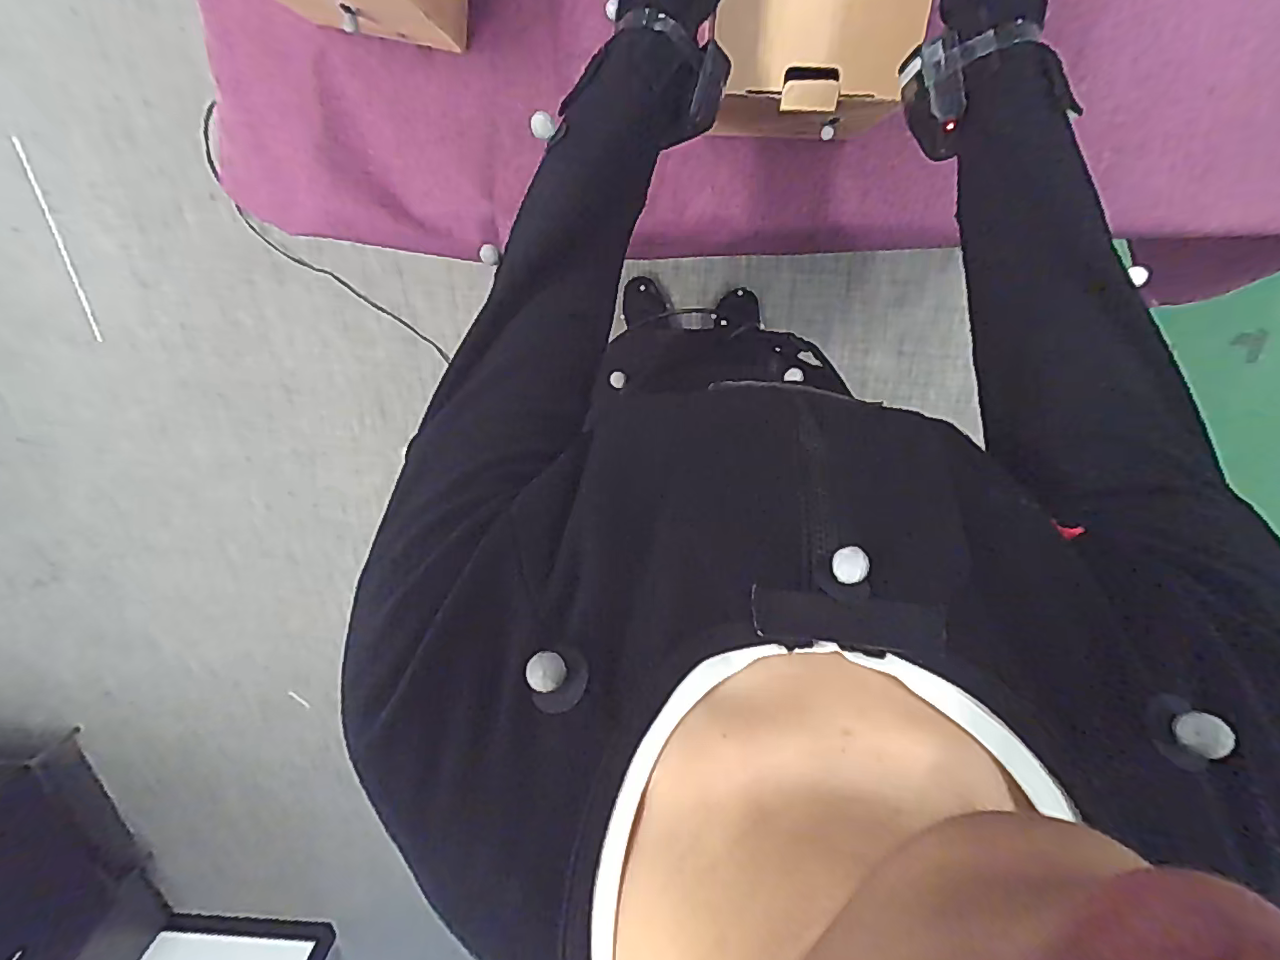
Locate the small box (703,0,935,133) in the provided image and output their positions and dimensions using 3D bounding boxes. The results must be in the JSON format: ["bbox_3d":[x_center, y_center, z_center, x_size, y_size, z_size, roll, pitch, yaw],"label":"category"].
[{"bbox_3d":[0.145,-0.416,0.467,0.168,0.176,0.179,4,113,2],"label":"small box"}]

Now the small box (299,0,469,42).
[{"bbox_3d":[-0.248,-0.508,0.454,0.168,0.176,0.179,11,115,-1],"label":"small box"}]
